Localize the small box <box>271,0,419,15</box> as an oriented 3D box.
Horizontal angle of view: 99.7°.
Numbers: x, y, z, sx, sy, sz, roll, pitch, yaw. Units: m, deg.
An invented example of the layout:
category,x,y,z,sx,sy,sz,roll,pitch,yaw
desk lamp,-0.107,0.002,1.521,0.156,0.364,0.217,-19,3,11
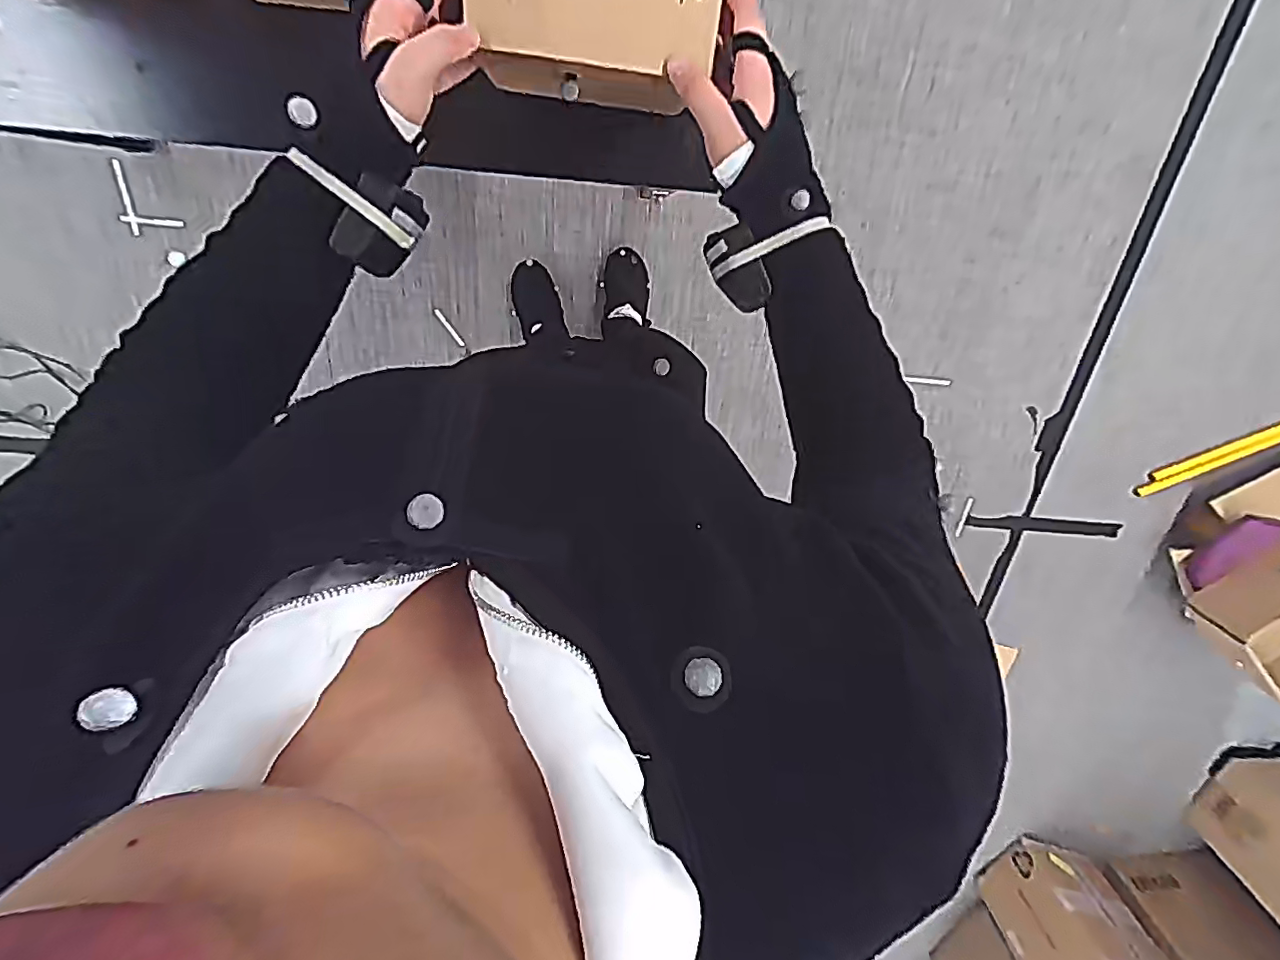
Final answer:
category,x,y,z,sx,sy,sz,roll,pitch,yaw
small box,-0.282,-0.508,0.433,0.179,0.176,0.168,3,114,-4
